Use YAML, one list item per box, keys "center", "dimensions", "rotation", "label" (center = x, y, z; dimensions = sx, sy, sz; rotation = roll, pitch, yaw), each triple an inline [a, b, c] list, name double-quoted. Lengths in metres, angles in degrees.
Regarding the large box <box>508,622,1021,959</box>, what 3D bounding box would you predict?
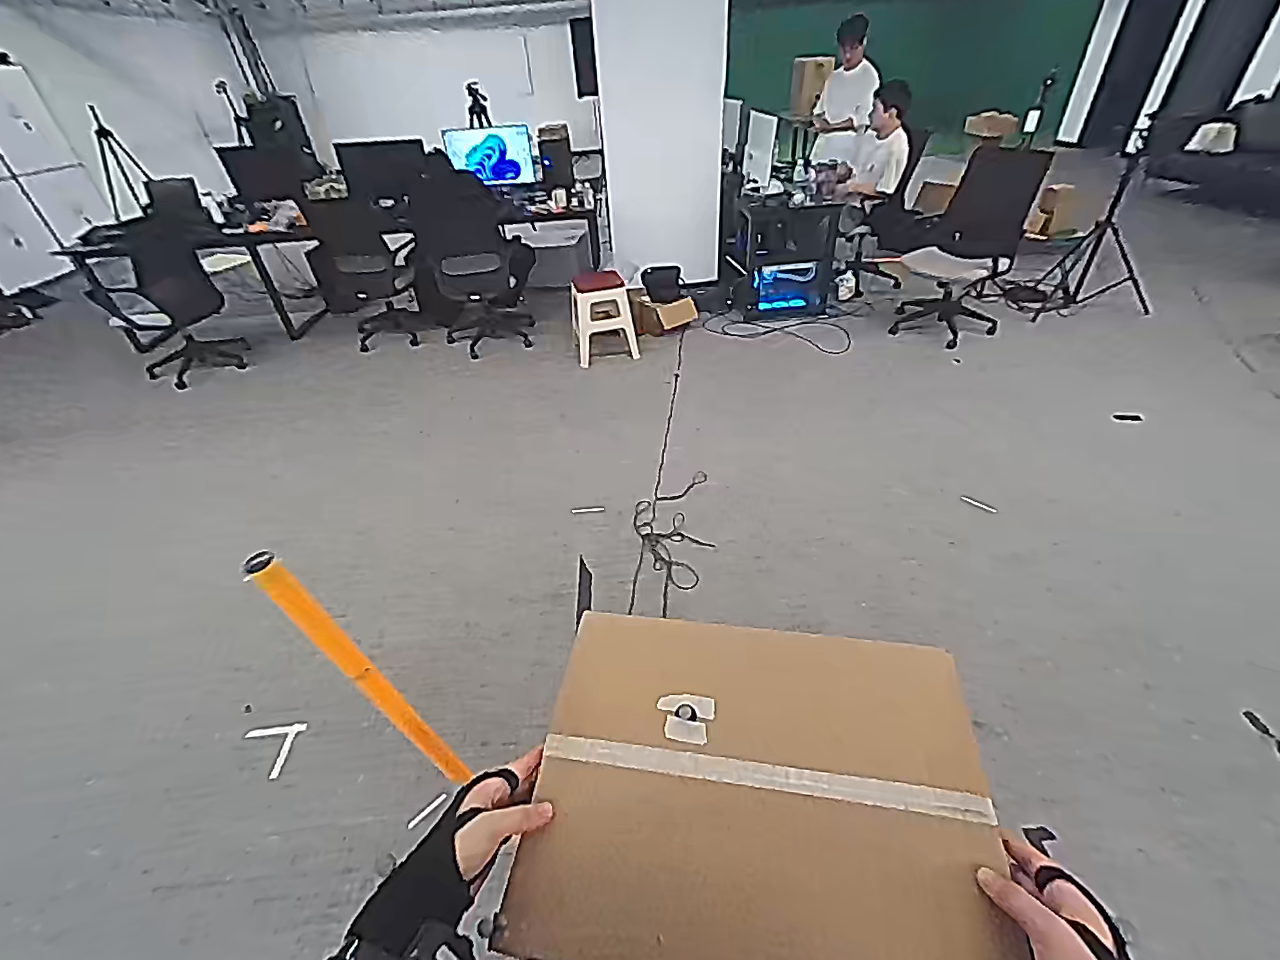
- center: [0.125, 0.389, 0.615]
  dimensions: [0.408, 0.320, 0.320]
  rotation: [2, 43, 11]
  label: "large box"
